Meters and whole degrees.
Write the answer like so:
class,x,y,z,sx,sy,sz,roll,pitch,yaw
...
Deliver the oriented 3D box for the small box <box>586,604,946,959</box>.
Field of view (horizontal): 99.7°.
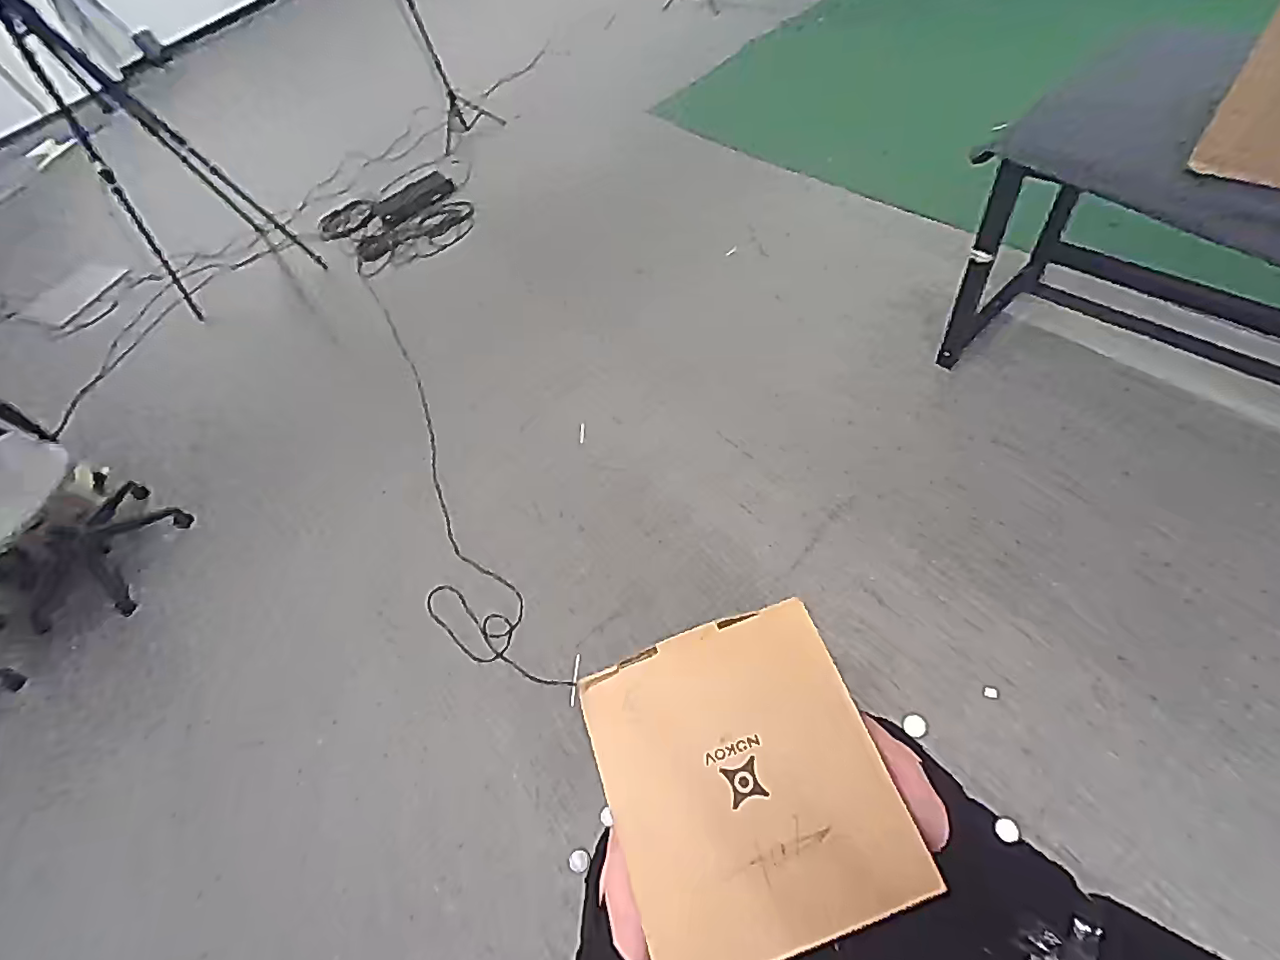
class,x,y,z,sx,sy,sz,roll,pitch,yaw
small box,0.074,0.217,0.398,0.168,0.176,0.179,-20,63,-2
